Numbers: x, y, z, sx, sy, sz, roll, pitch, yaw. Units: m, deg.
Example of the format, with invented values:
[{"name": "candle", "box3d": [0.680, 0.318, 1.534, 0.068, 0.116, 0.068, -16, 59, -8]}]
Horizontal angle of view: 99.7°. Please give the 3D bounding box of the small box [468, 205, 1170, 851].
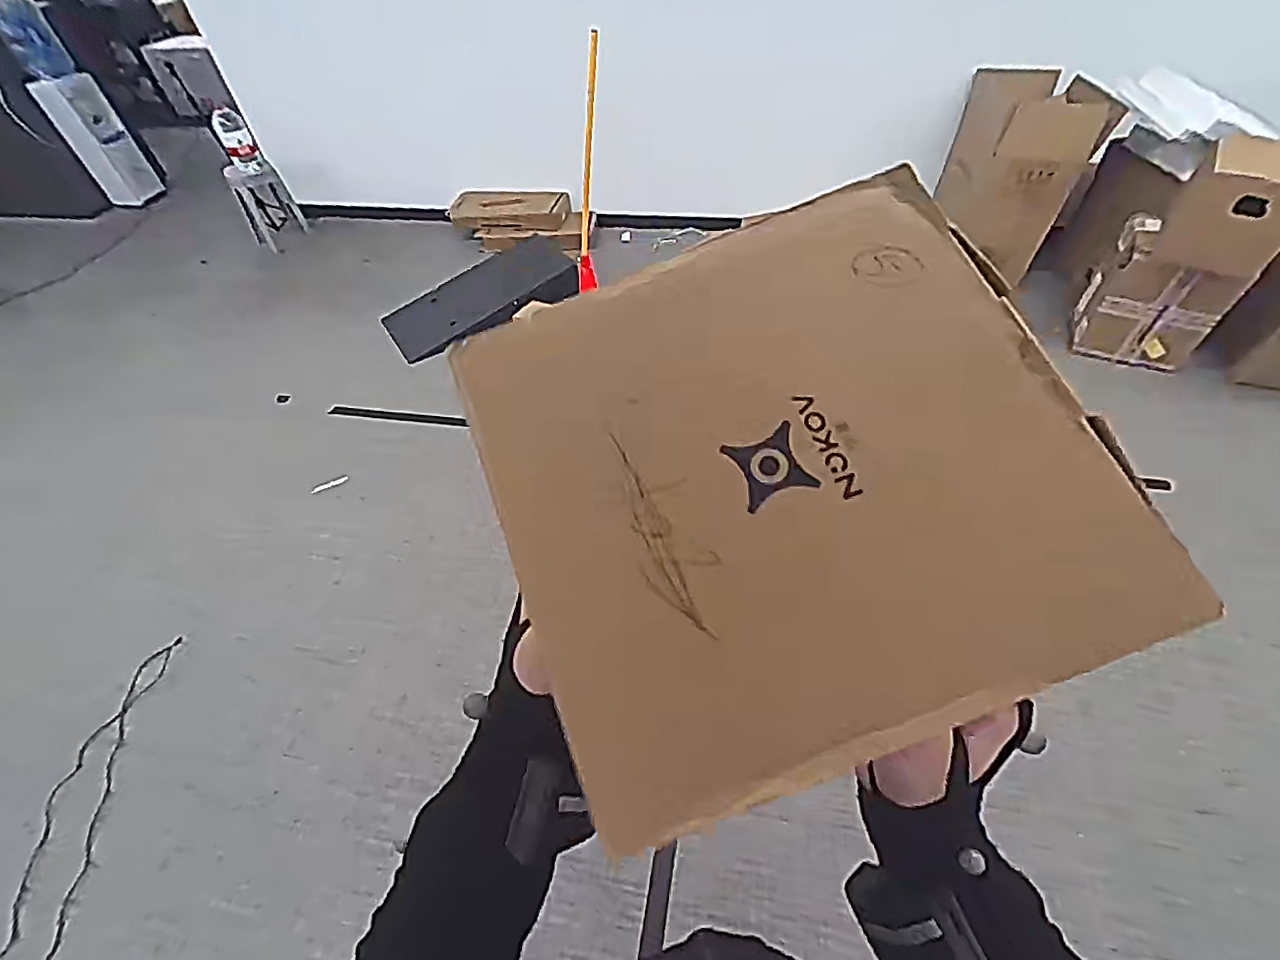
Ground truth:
[{"name": "small box", "box3d": [0.054, 0.023, 0.254, 0.179, 0.176, 0.168, -25, 72, 0]}]
